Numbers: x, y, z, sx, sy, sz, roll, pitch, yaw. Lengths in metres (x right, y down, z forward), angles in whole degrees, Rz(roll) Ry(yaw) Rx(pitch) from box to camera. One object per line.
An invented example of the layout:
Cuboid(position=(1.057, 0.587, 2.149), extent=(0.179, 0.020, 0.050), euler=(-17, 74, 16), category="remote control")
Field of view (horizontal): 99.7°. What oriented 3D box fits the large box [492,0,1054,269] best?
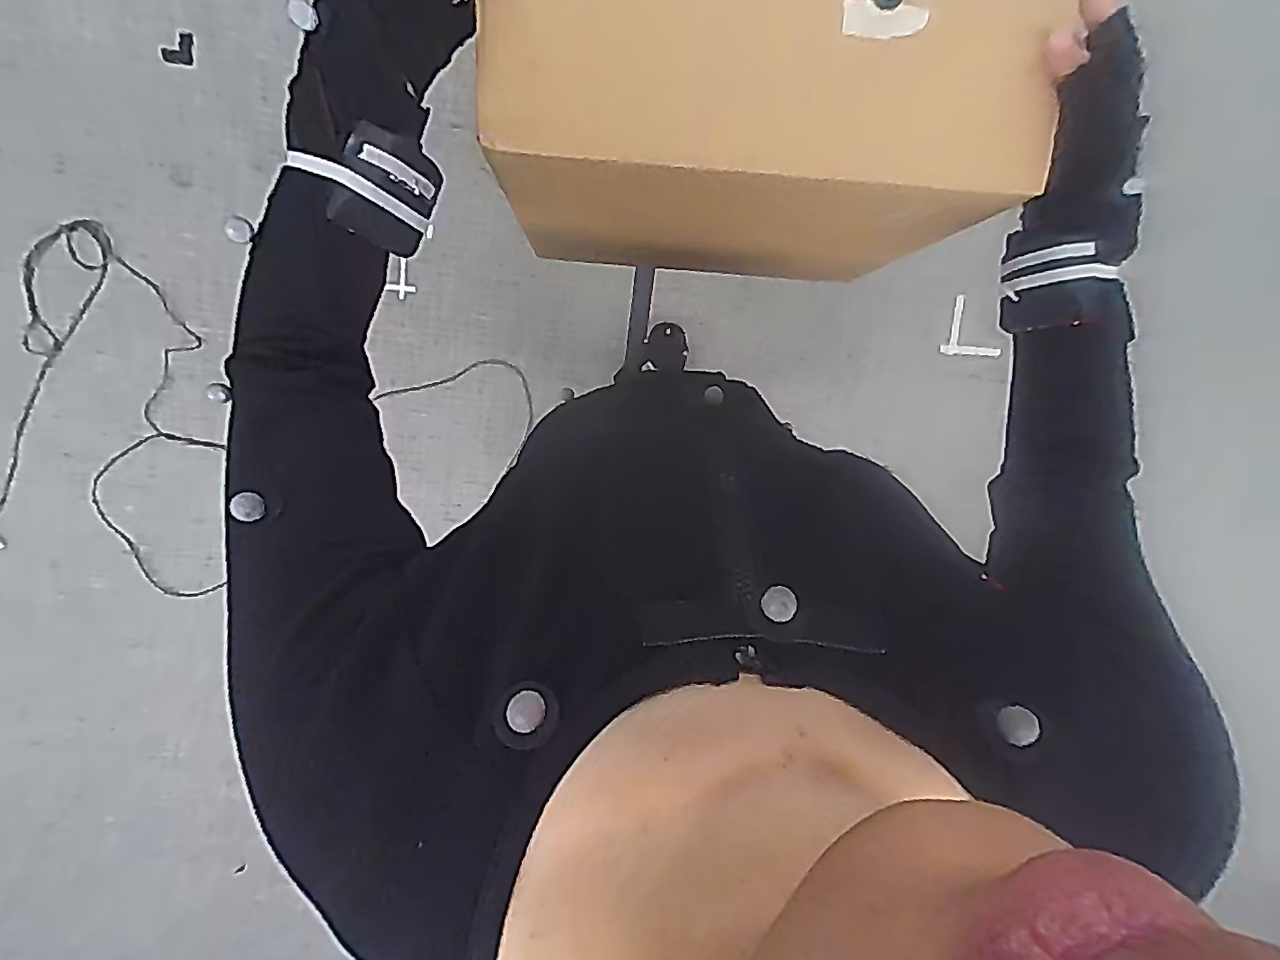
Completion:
Cuboid(position=(0.087, -0.404, 0.515), extent=(0.408, 0.320, 0.320), euler=(2, 99, -5), category="large box")
